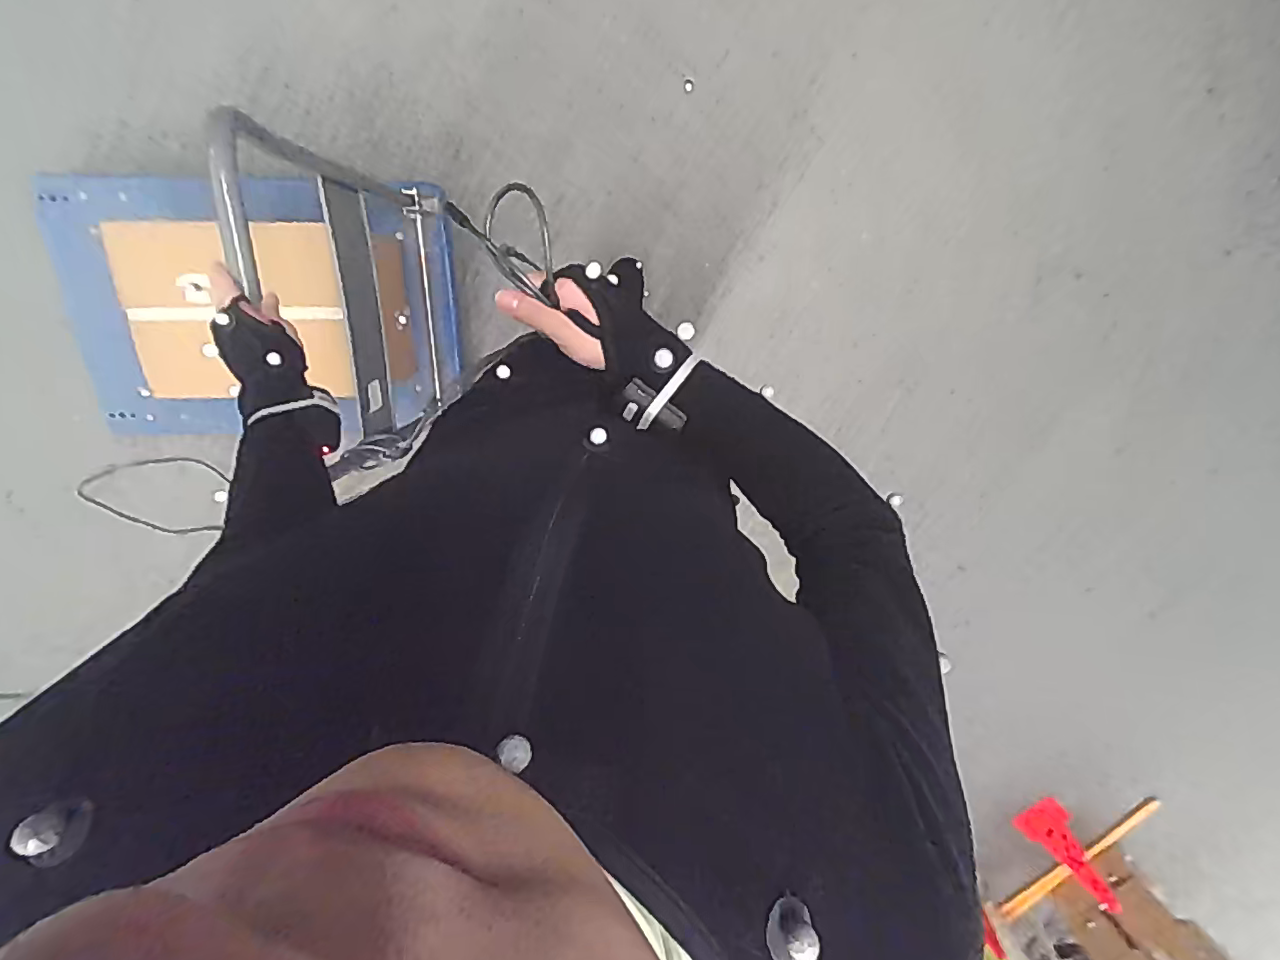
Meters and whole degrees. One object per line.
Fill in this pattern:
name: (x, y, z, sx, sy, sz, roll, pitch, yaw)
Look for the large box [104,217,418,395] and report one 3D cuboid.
large box: (-0.736, -0.363, 1.133, 0.408, 0.320, 0.320, -1, 109, -3)
